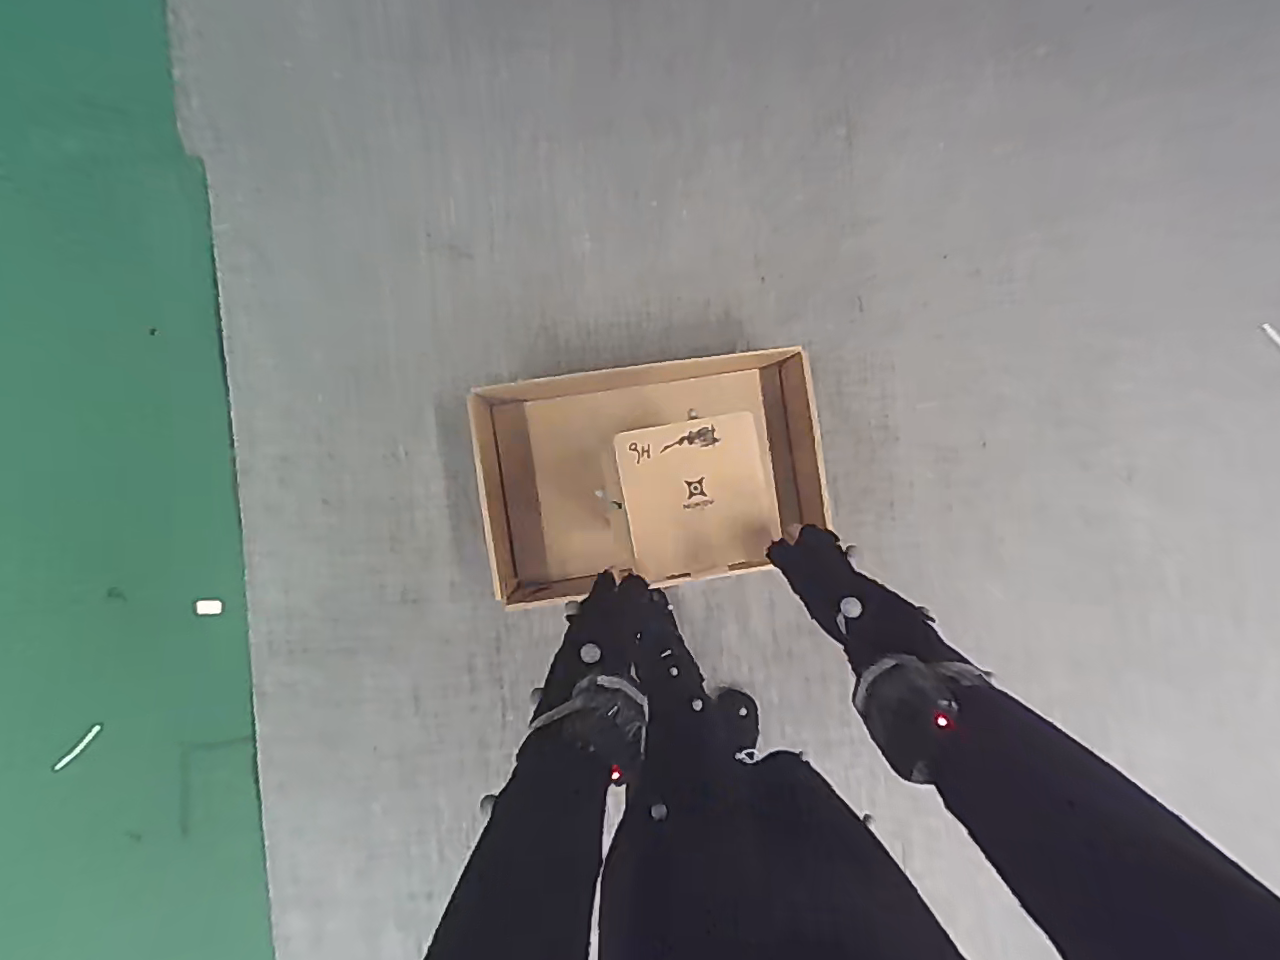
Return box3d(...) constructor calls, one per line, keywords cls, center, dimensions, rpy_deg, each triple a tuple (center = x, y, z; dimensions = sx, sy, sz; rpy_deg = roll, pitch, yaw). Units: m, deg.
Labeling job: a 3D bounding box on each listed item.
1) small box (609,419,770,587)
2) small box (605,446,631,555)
box3d(cls="small box", center=(0.058, 0.026, 0.723), dimensions=(0.168, 0.176, 0.179), rpy_deg=(-12, 90, -2))
box3d(cls="small box", center=(0.038, 0.020, 0.883), dimensions=(0.179, 0.176, 0.168), rpy_deg=(-8, 90, -3))
